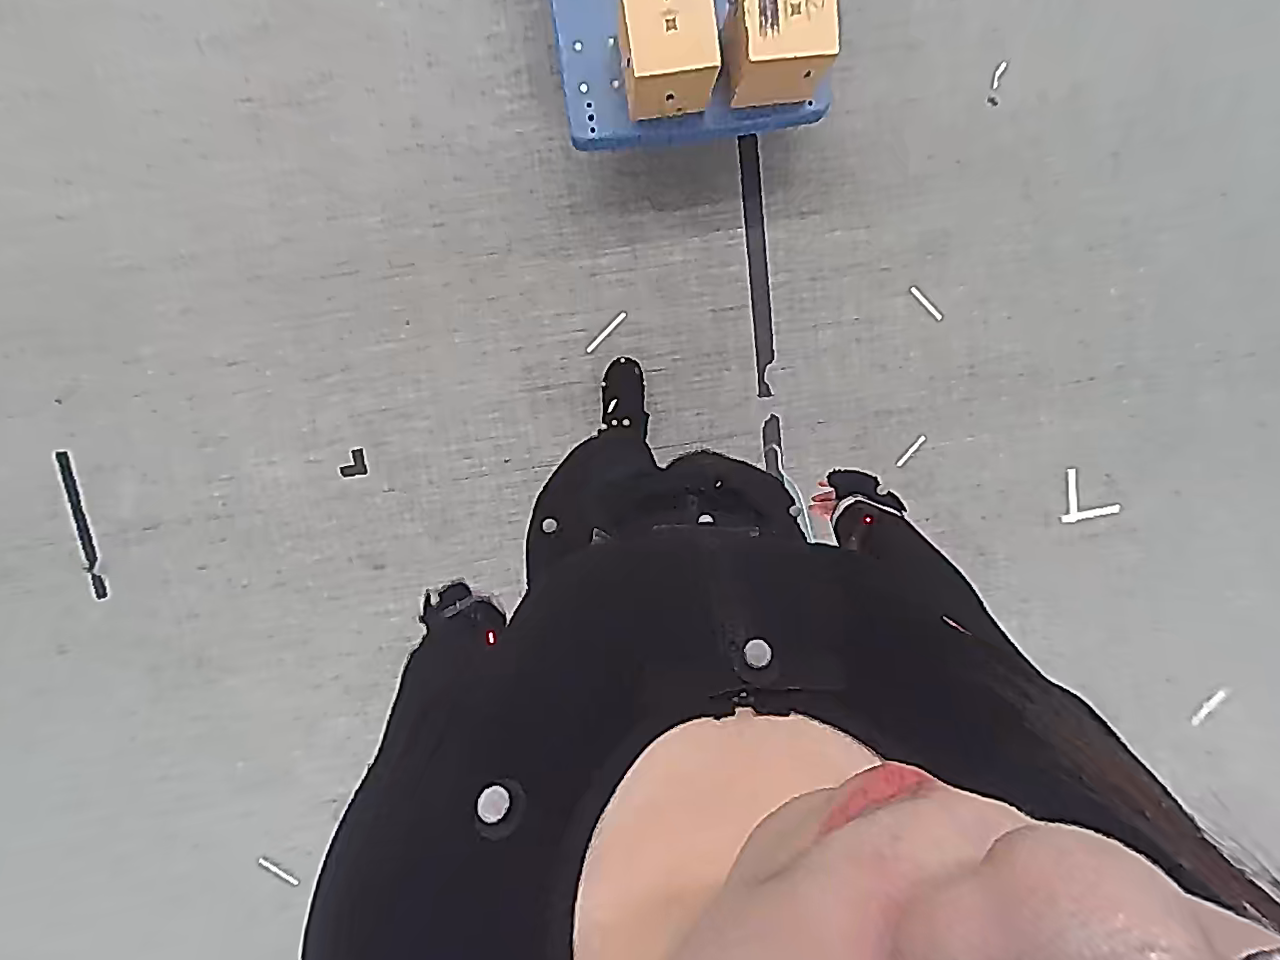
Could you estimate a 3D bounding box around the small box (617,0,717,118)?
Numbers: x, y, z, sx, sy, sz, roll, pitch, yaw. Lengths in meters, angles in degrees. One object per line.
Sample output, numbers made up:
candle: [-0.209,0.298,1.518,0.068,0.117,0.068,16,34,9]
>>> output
small box: [0.048,-0.850,1.071,0.168,0.176,0.179,-10,99,-2]
